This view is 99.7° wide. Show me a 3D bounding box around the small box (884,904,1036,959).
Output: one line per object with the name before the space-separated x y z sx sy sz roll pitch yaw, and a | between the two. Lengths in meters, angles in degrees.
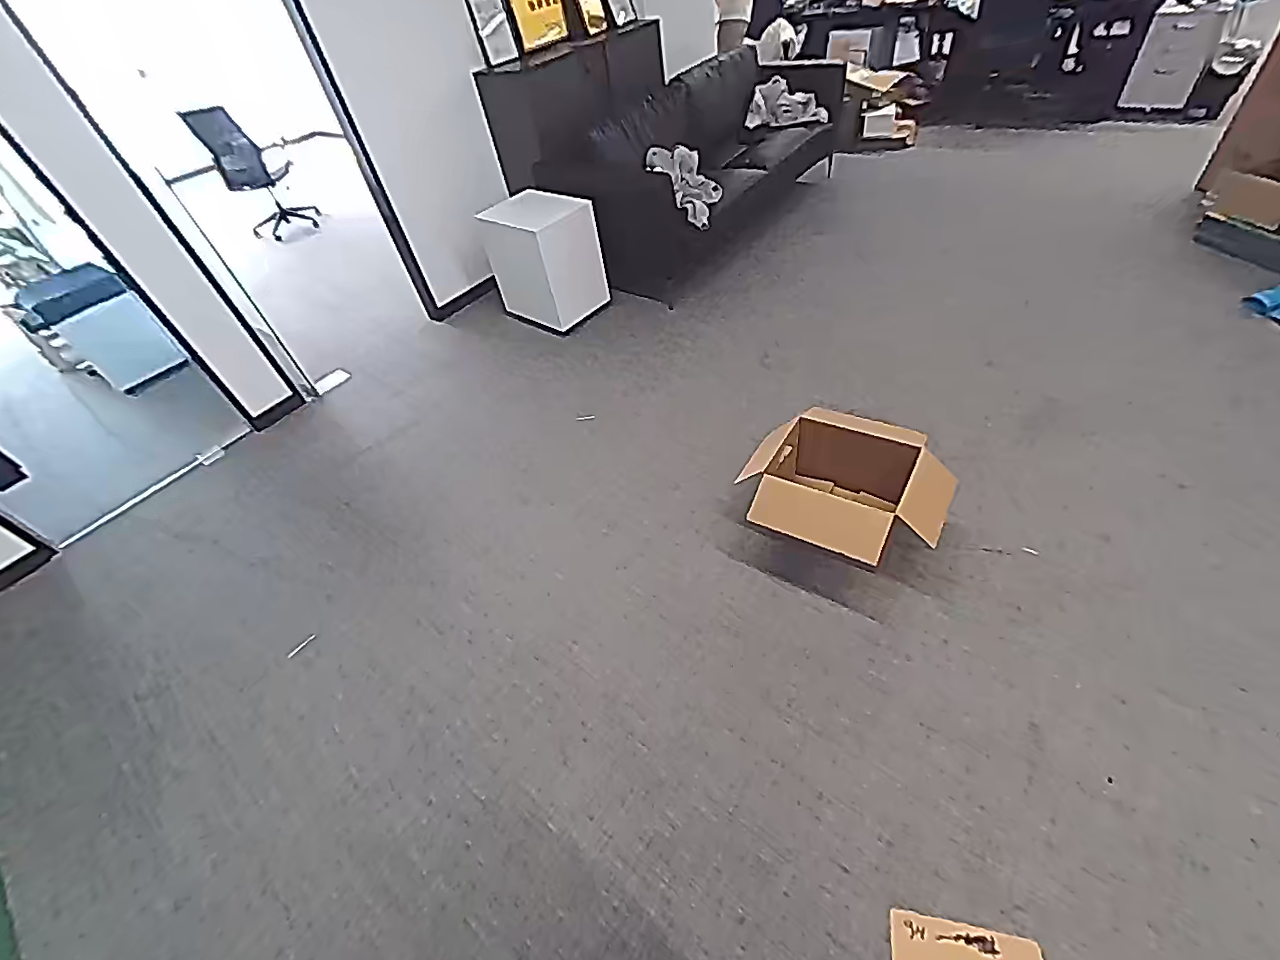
small box | 0.375 0.655 0.621 0.168 0.176 0.179 -2 10 24
